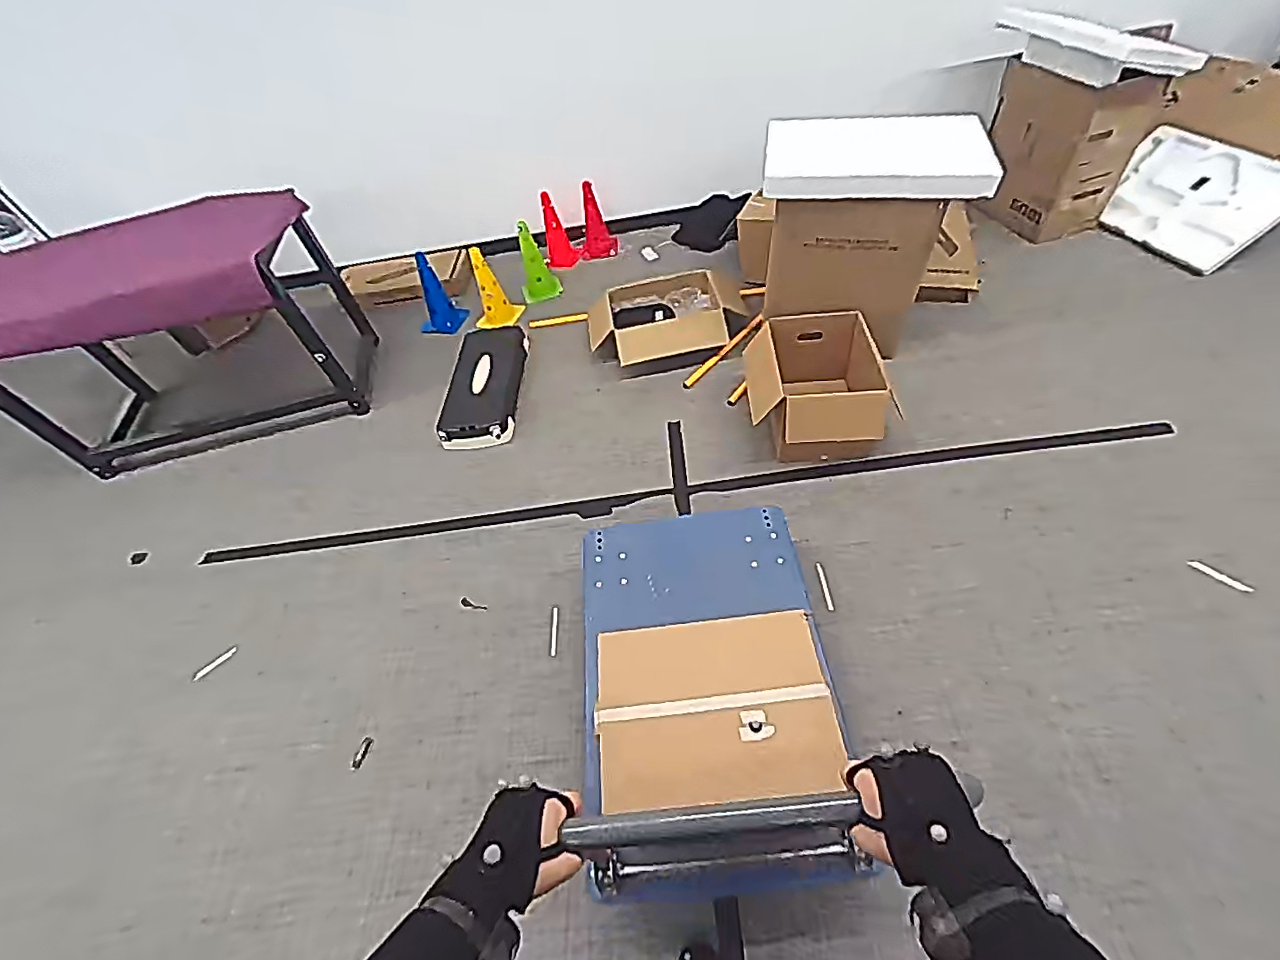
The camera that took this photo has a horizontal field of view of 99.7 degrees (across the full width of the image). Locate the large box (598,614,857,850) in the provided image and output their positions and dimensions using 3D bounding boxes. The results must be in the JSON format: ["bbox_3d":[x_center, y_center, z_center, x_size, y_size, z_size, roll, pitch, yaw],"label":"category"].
[{"bbox_3d":[0.143,0.492,1.042,0.408,0.320,0.320,-7,50,2],"label":"large box"}]
